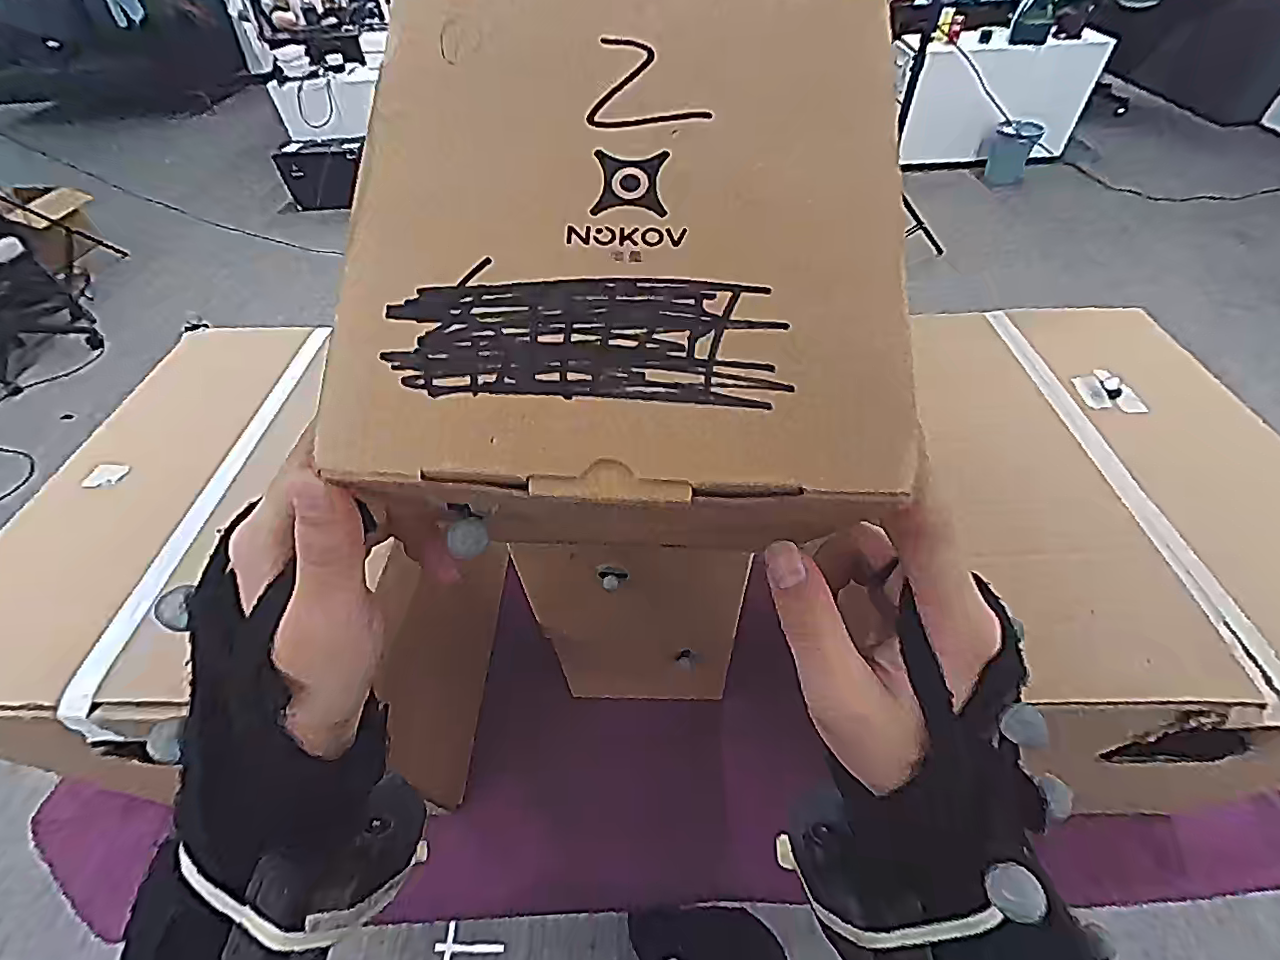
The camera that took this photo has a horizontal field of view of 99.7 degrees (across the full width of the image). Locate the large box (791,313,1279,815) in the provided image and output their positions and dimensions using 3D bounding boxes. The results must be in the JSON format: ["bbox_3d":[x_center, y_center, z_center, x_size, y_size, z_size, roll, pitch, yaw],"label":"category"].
[{"bbox_3d":[0.364,0.078,0.552,0.320,0.320,0.408,-1,47,2],"label":"large box"}]
